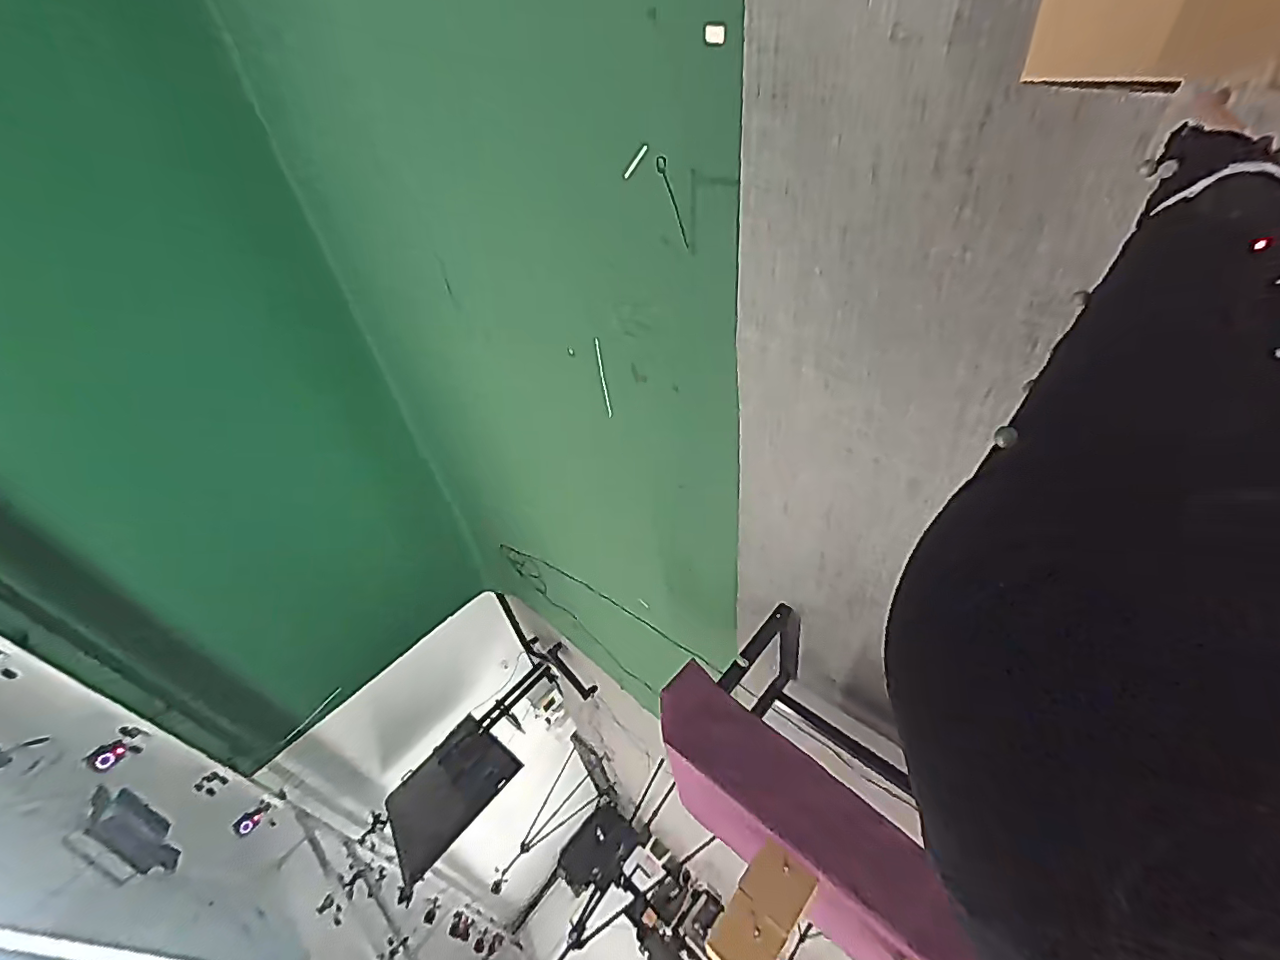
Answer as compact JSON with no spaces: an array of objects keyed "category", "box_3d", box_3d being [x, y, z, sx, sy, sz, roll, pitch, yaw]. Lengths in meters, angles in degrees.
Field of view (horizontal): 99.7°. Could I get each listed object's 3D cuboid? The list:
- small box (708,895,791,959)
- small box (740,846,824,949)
[{"category":"small box","box_3d":[0.310,1.325,1.524,0.168,0.176,0.179,27,142,33]},{"category":"small box","box_3d":[0.415,1.224,1.599,0.179,0.176,0.168,28,144,35]}]
